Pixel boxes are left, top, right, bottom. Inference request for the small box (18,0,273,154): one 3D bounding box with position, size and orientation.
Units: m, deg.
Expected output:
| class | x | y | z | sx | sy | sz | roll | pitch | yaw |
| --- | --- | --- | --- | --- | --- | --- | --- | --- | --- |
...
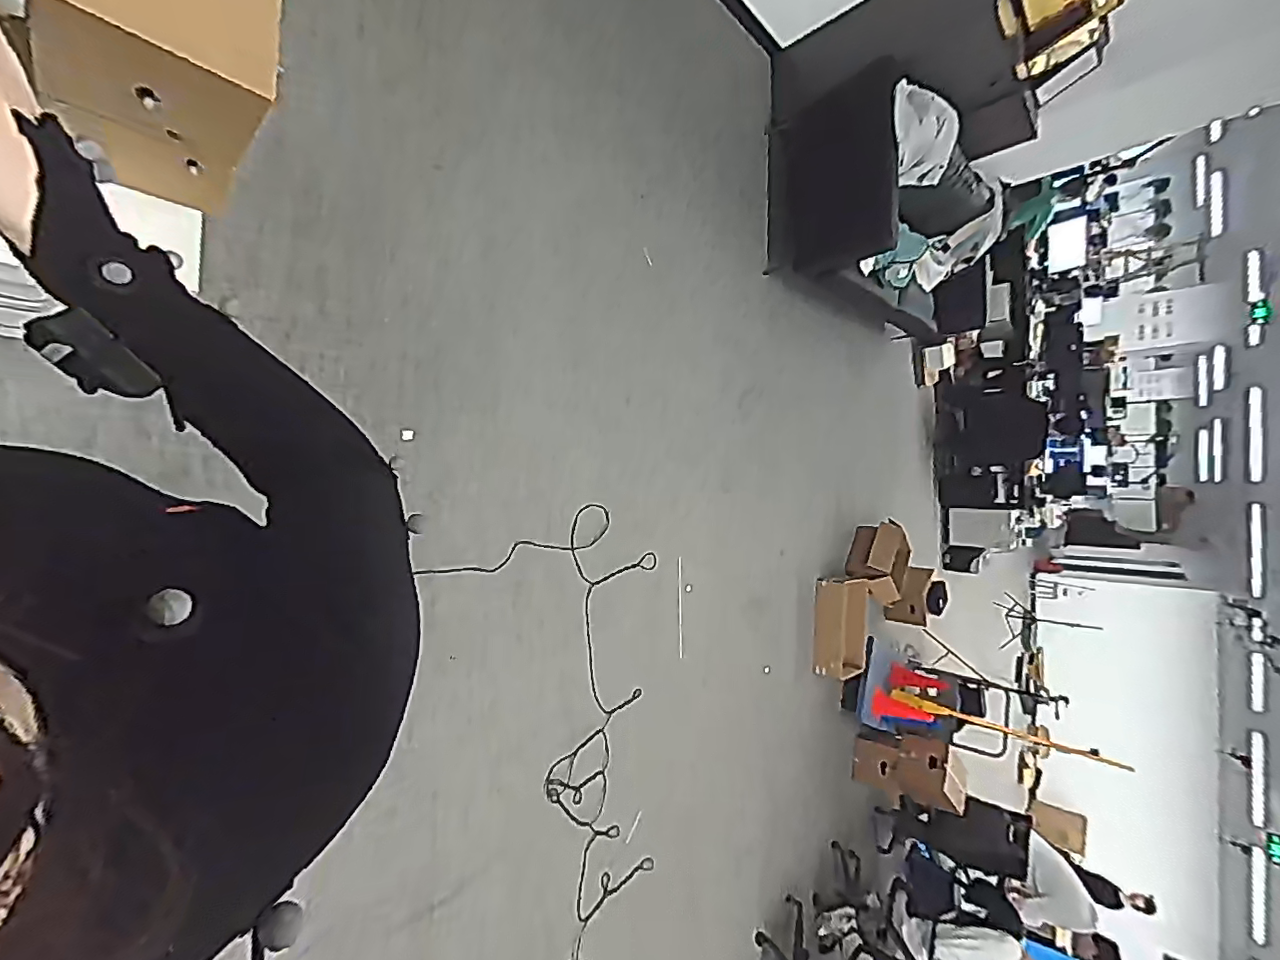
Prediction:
| class | x | y | z | sx | sy | sz | roll | pitch | yaw |
| --- | --- | --- | --- | --- | --- | --- | --- | --- | --- |
| small box | -0.481 | -0.468 | 0.533 | 0.168 | 0.176 | 0.179 | 5 | 86 | -48 |
